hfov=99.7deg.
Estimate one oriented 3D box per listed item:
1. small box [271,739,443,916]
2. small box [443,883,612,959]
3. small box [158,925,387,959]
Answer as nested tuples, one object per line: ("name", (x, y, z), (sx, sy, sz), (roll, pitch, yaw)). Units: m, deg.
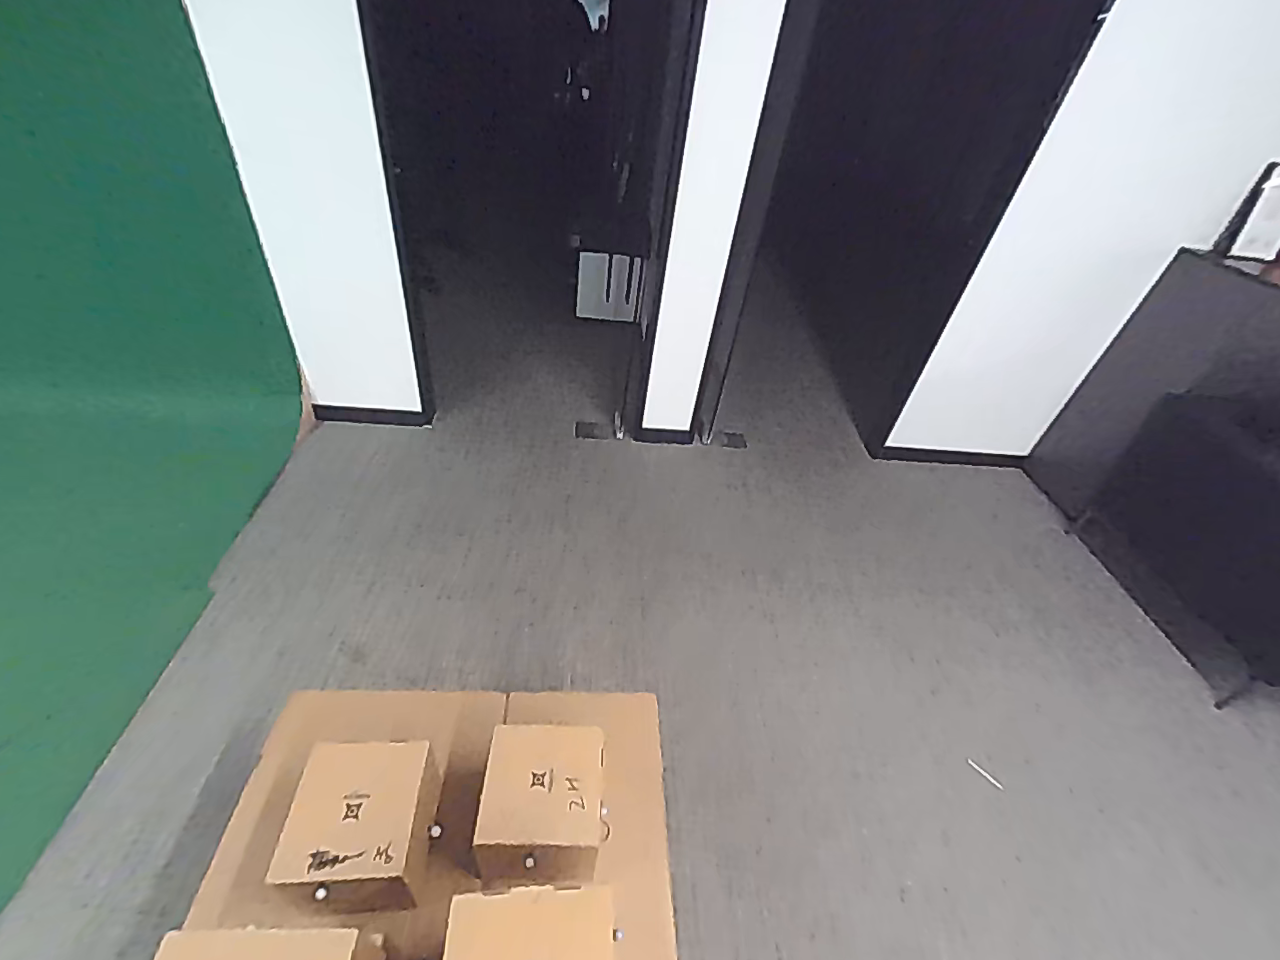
("small box", (-0.396, 0.509, 0.797), (0.168, 0.176, 0.179), (1, 40, -7))
("small box", (-0.113, 0.544, 0.555), (0.168, 0.176, 0.179), (1, 41, -7))
("small box", (-0.365, 0.544, 0.512), (0.179, 0.176, 0.168), (5, 42, -6))
